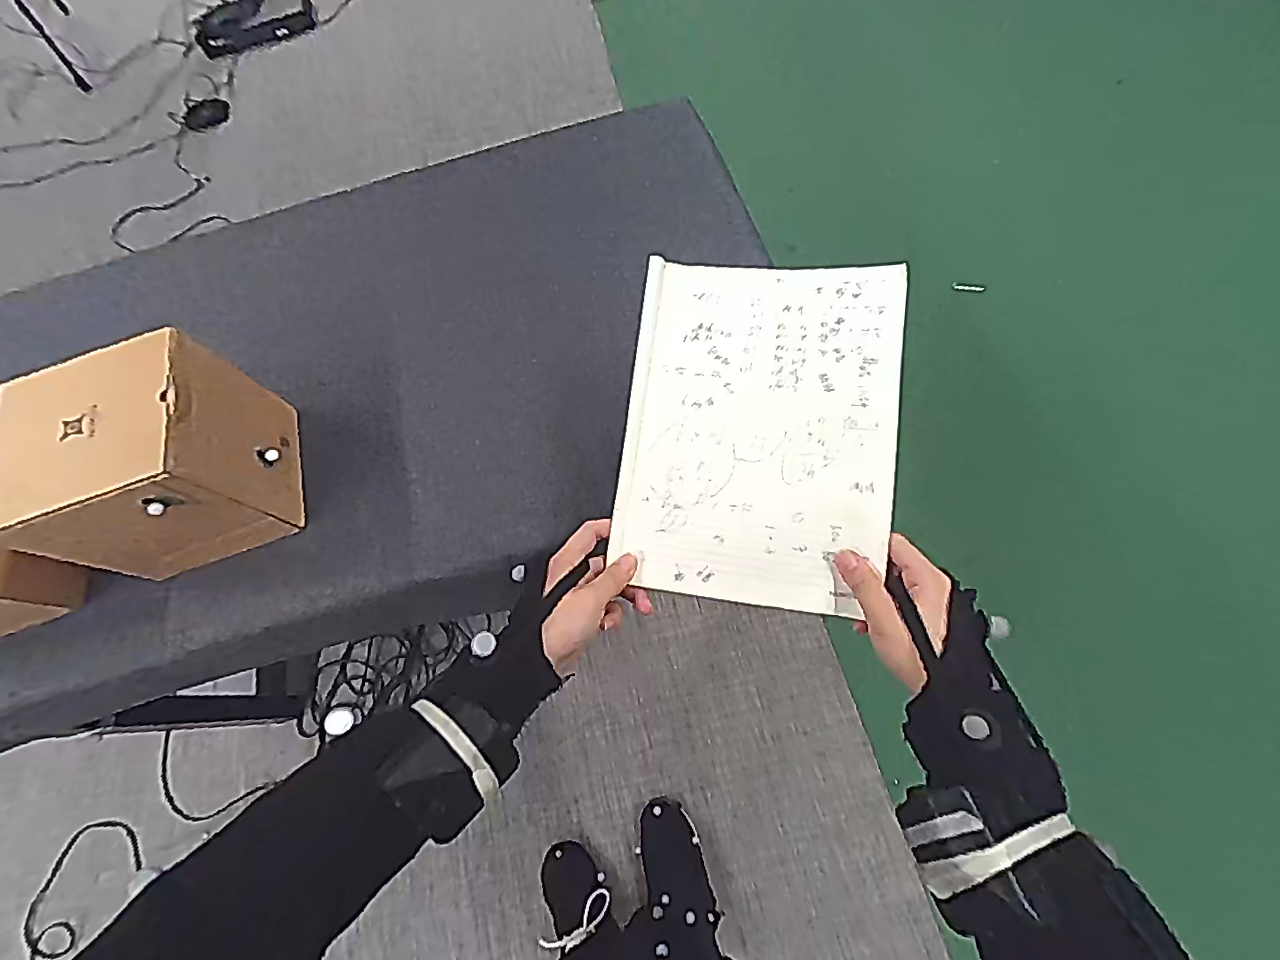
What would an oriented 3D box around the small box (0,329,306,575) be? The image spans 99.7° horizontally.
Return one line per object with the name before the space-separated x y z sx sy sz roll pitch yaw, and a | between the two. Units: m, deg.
small box | -0.486 -0.017 0.559 0.179 0.176 0.168 -20 67 -1
